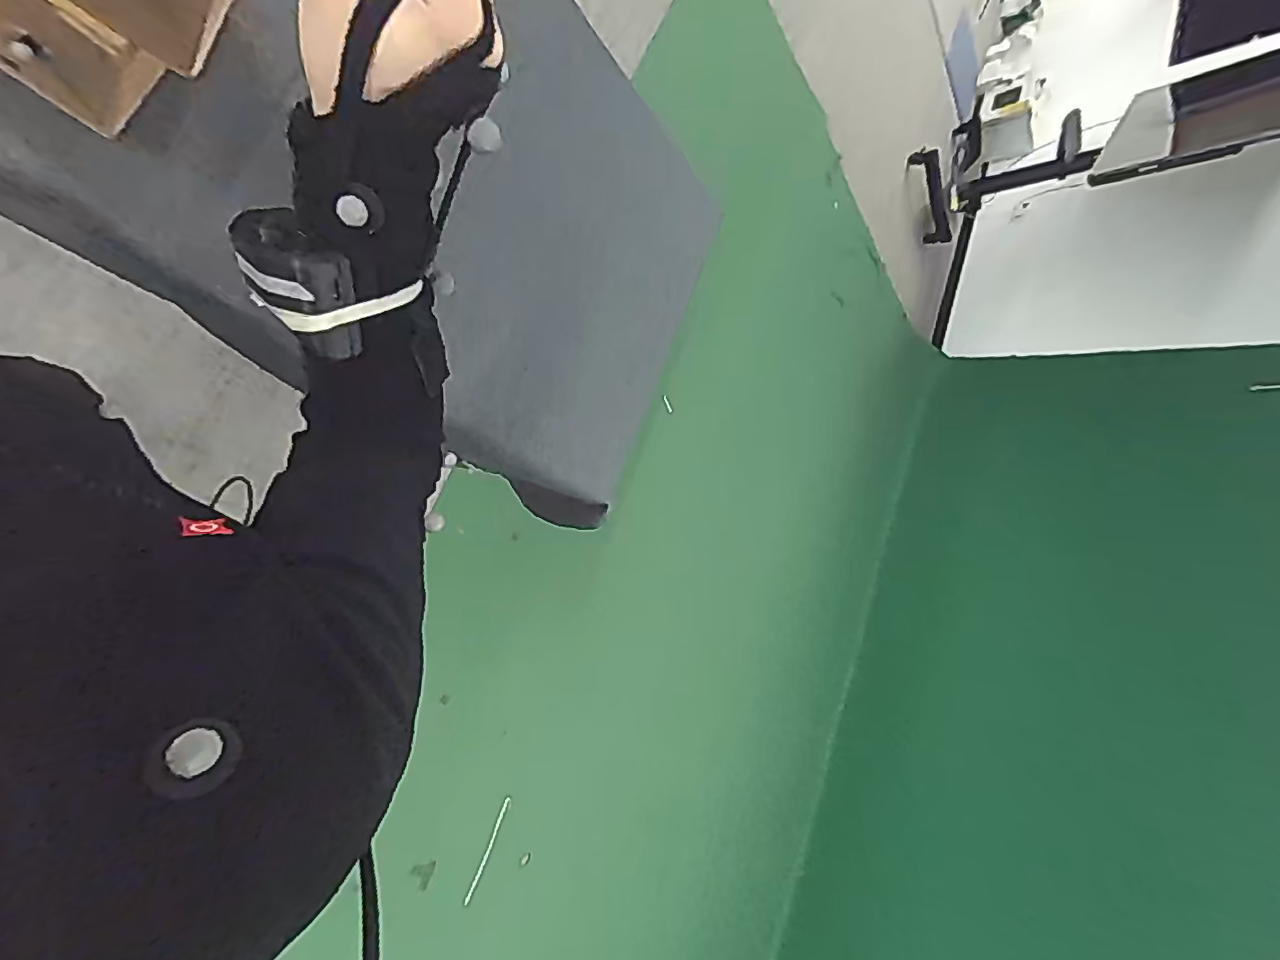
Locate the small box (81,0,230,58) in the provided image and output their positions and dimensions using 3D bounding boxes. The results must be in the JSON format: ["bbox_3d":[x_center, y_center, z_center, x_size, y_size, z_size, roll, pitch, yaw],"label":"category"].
[{"bbox_3d":[-0.289,-0.376,0.274,0.179,0.176,0.168,25,78,-46],"label":"small box"}]

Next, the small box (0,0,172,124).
[{"bbox_3d":[-0.416,-0.396,0.374,0.168,0.176,0.179,35,70,-44],"label":"small box"}]
